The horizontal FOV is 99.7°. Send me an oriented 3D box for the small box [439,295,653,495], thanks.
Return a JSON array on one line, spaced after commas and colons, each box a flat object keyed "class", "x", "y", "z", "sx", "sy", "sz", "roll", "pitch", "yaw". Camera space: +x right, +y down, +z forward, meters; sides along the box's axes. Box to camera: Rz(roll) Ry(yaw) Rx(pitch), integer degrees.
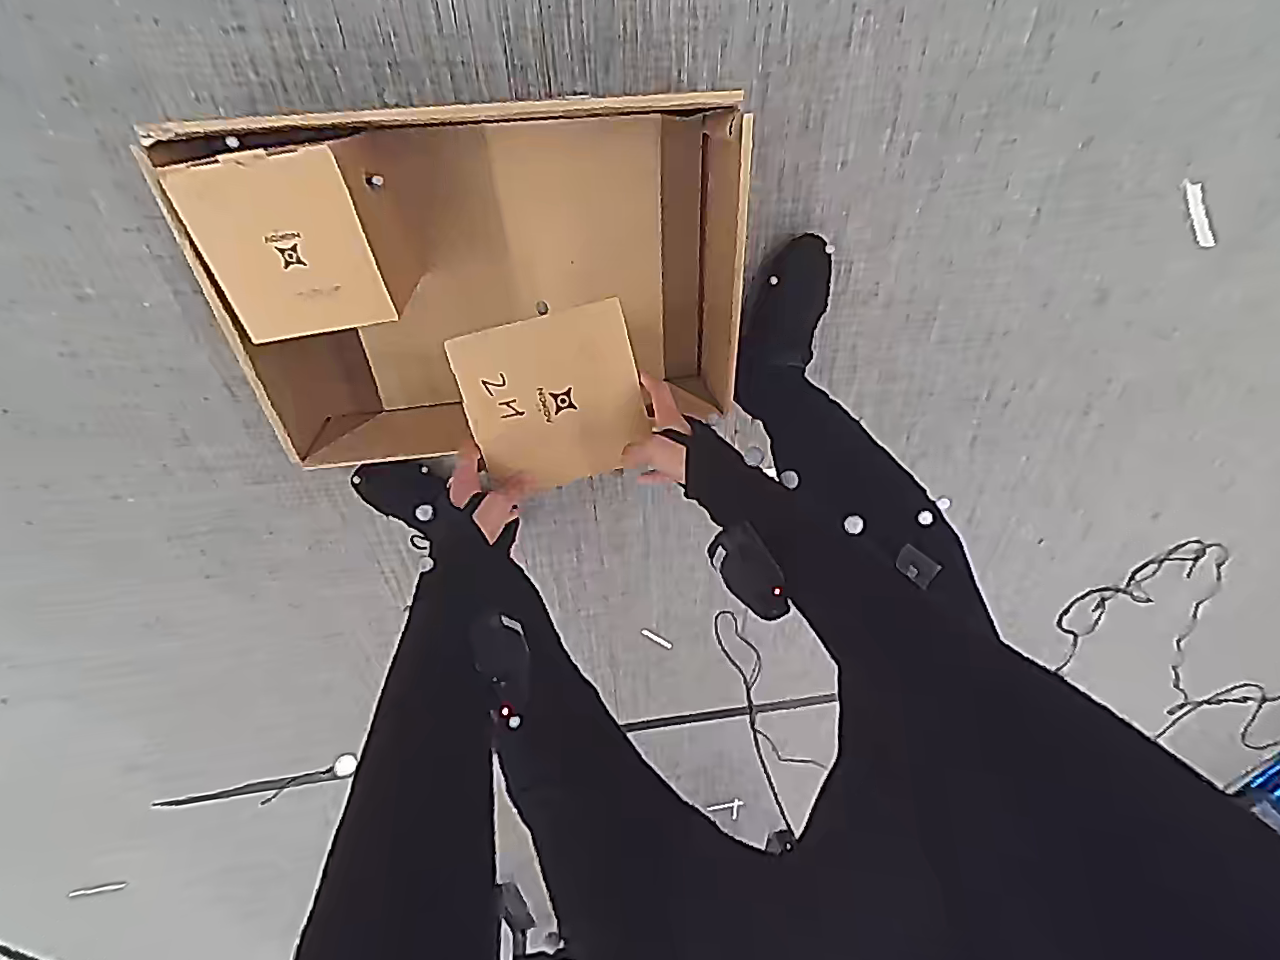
[{"class": "small box", "x": -0.096, "y": -0.101, "z": 0.604, "sx": 0.179, "sy": 0.176, "sz": 0.168, "roll": -15, "pitch": 105, "yaw": -1}]
